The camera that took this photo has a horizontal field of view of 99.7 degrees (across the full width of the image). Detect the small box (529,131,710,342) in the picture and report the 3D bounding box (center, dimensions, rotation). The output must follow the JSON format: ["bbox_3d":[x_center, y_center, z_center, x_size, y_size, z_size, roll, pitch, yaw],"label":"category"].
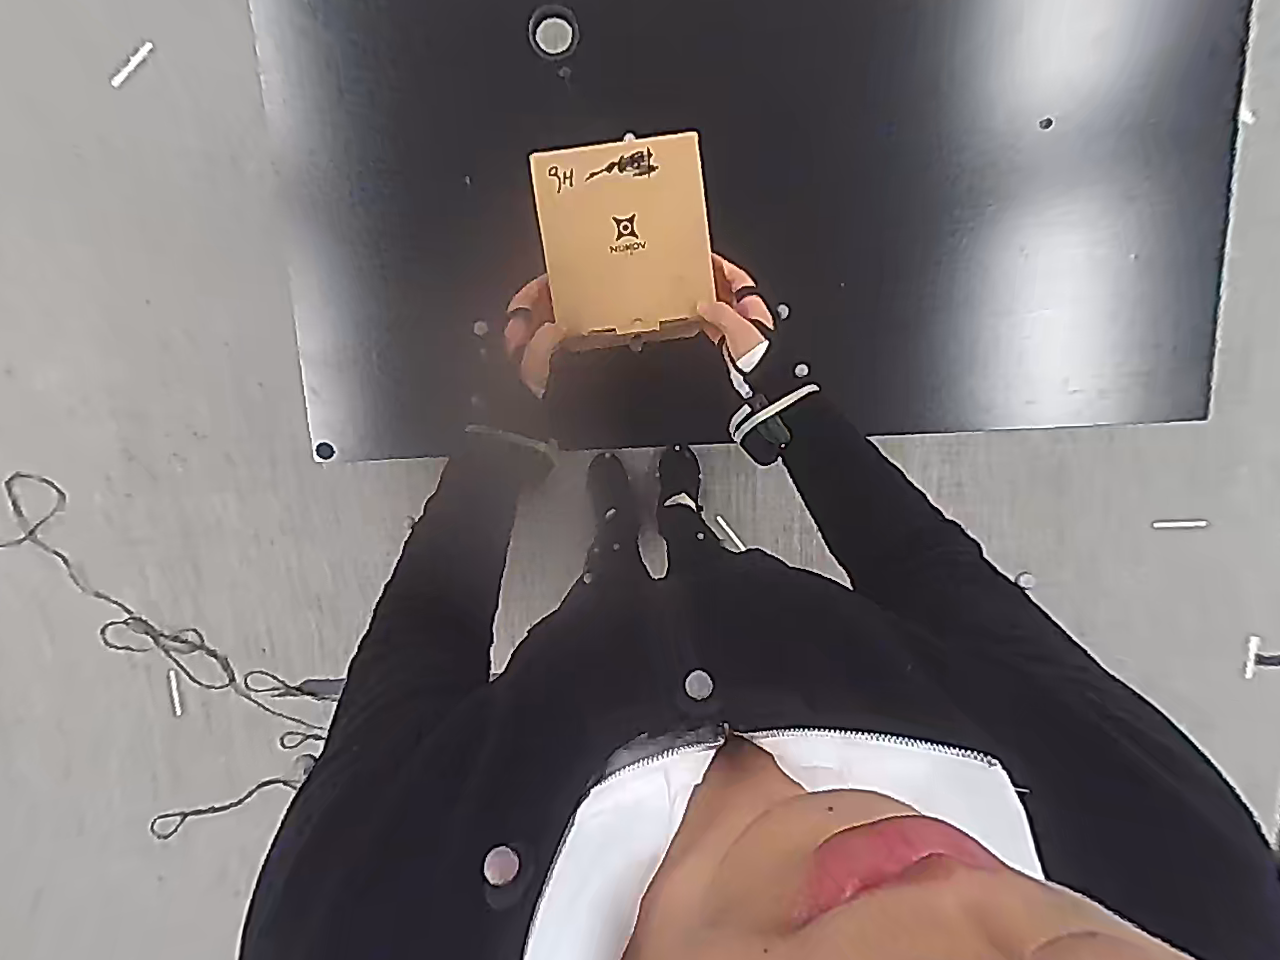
[{"bbox_3d":[-0.018,-0.256,0.615,0.168,0.176,0.179,-8,99,0],"label":"small box"}]
